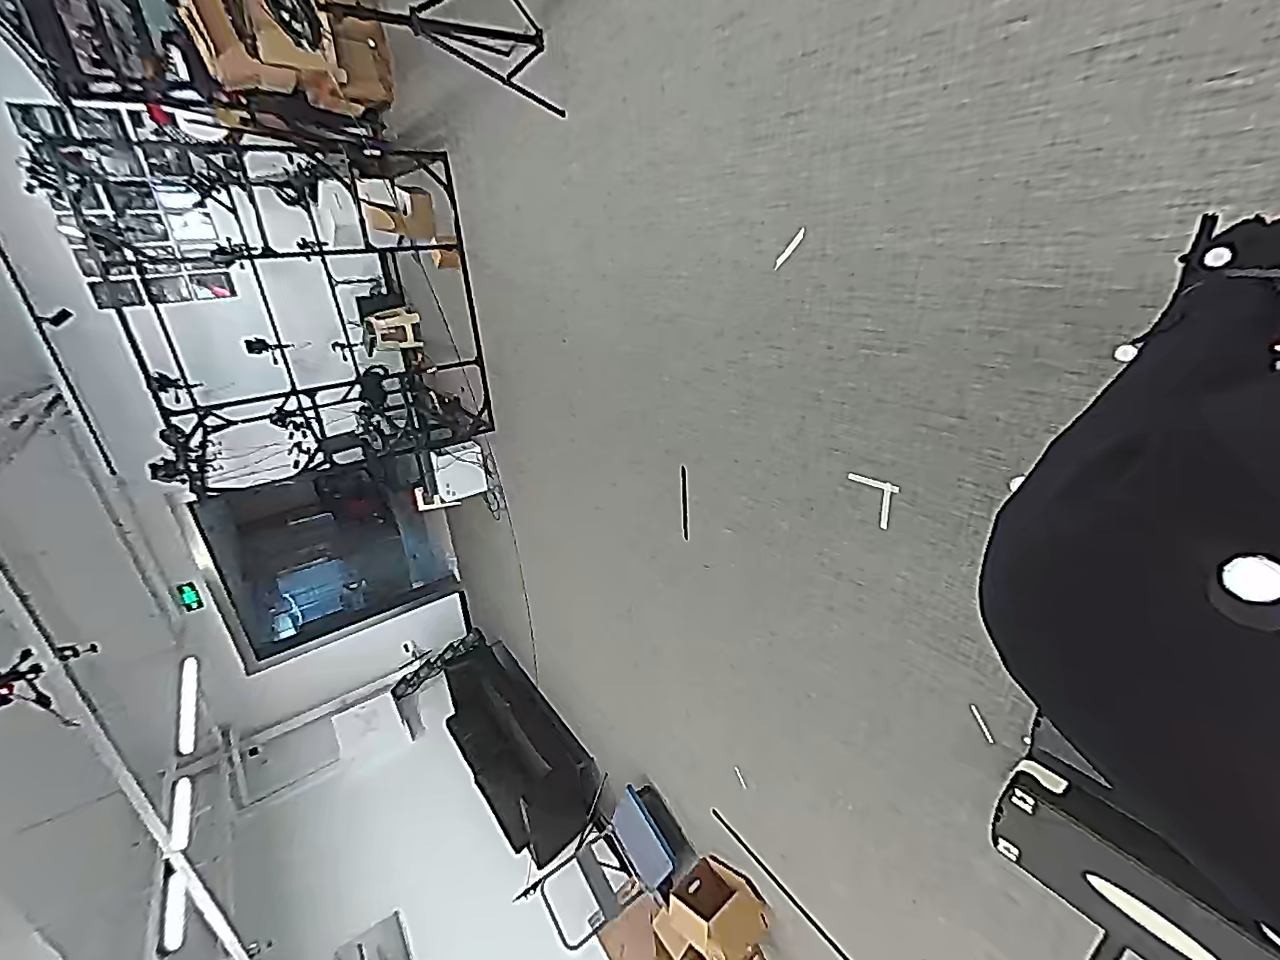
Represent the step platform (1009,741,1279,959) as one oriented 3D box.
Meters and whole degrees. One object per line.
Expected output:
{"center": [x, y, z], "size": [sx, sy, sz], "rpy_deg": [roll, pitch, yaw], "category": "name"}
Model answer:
{"center": [1.259, 0.948, 1.240], "size": [0.684, 0.204, 0.286], "rpy_deg": [27, 128, 50], "category": "step platform"}
